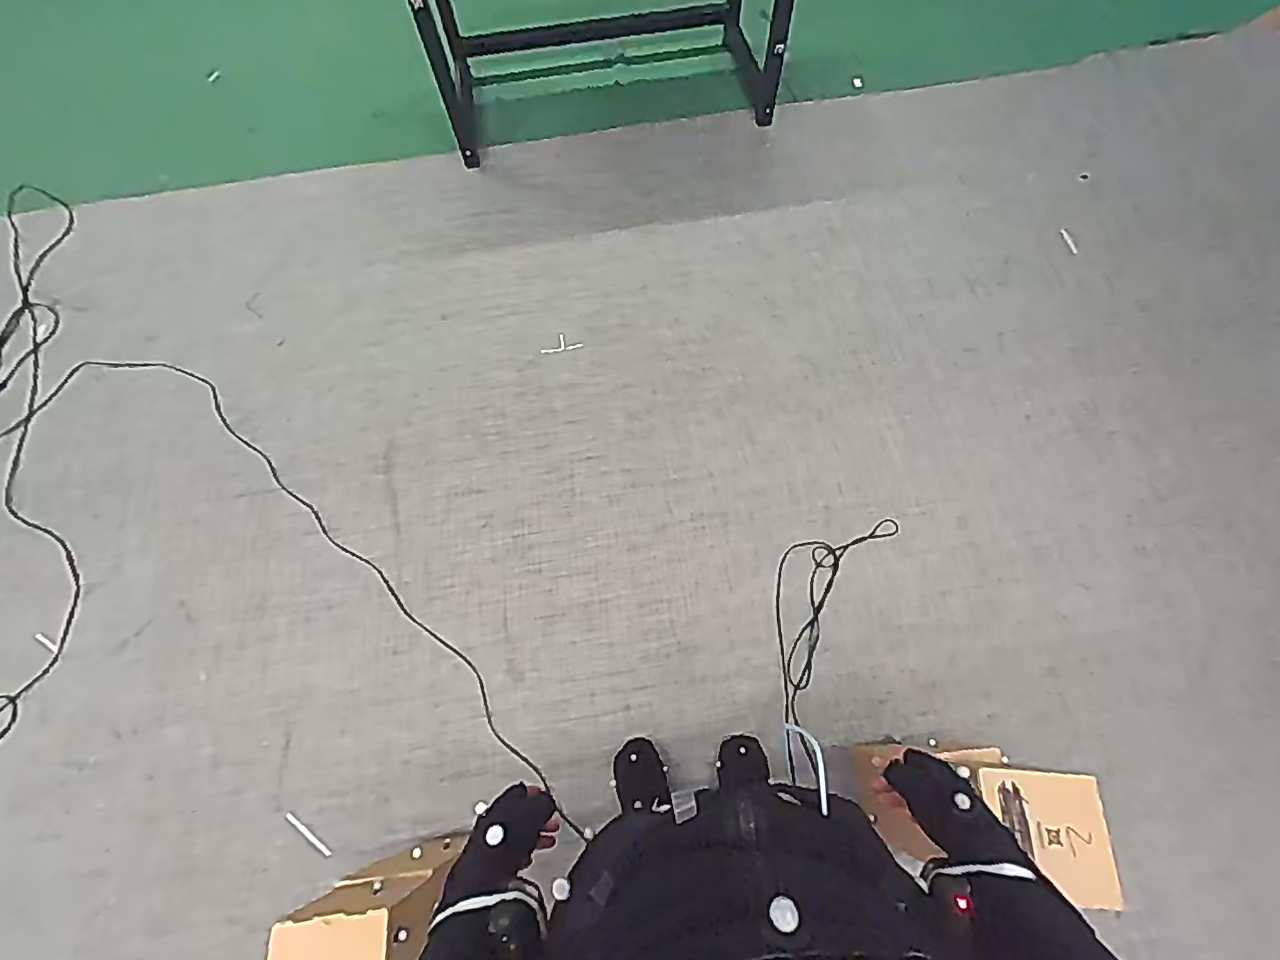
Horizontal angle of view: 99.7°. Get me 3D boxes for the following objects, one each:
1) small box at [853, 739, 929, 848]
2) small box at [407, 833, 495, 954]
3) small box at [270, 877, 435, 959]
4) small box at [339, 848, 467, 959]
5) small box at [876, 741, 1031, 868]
[{"bbox_3d":[0.571,0.650,1.138,0.168,0.176,0.179,-3,67,0],"label":"small box"},{"bbox_3d":[-0.398,0.837,1.097,0.179,0.176,0.168,-8,67,-2],"label":"small box"},{"bbox_3d":[-0.413,0.718,0.792,0.168,0.176,0.179,-7,66,-1],"label":"small box"},{"bbox_3d":[-0.410,0.774,0.945,0.168,0.176,0.179,-7,66,-1],"label":"small box"},{"bbox_3d":[0.564,0.588,1.004,0.168,0.176,0.179,-6,68,-1],"label":"small box"}]
